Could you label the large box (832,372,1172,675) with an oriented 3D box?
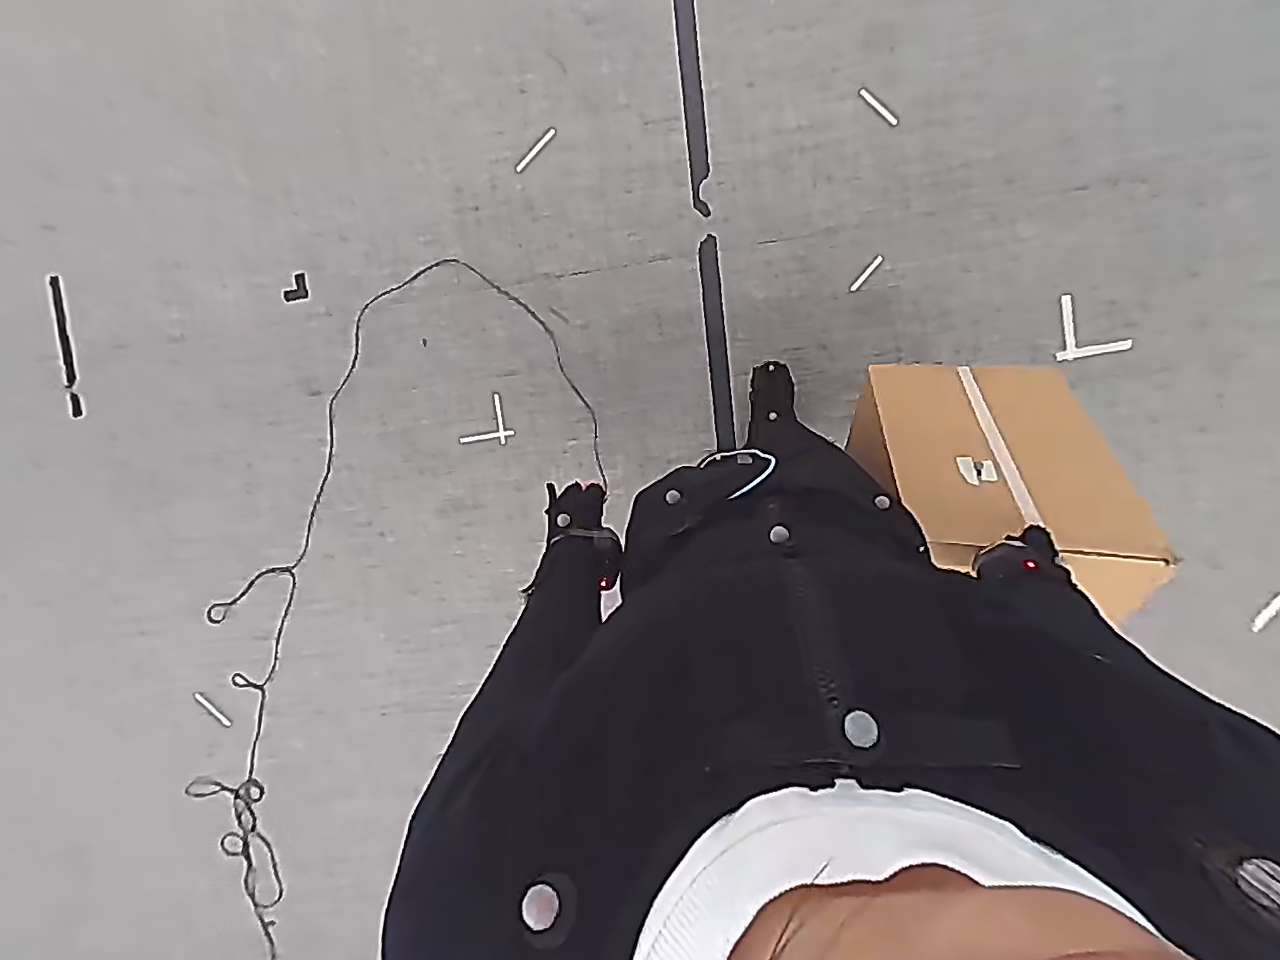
[{"bbox_3d":[0.535,0.062,0.922,0.320,0.408,0.320,3,136,9],"label":"large box"}]
